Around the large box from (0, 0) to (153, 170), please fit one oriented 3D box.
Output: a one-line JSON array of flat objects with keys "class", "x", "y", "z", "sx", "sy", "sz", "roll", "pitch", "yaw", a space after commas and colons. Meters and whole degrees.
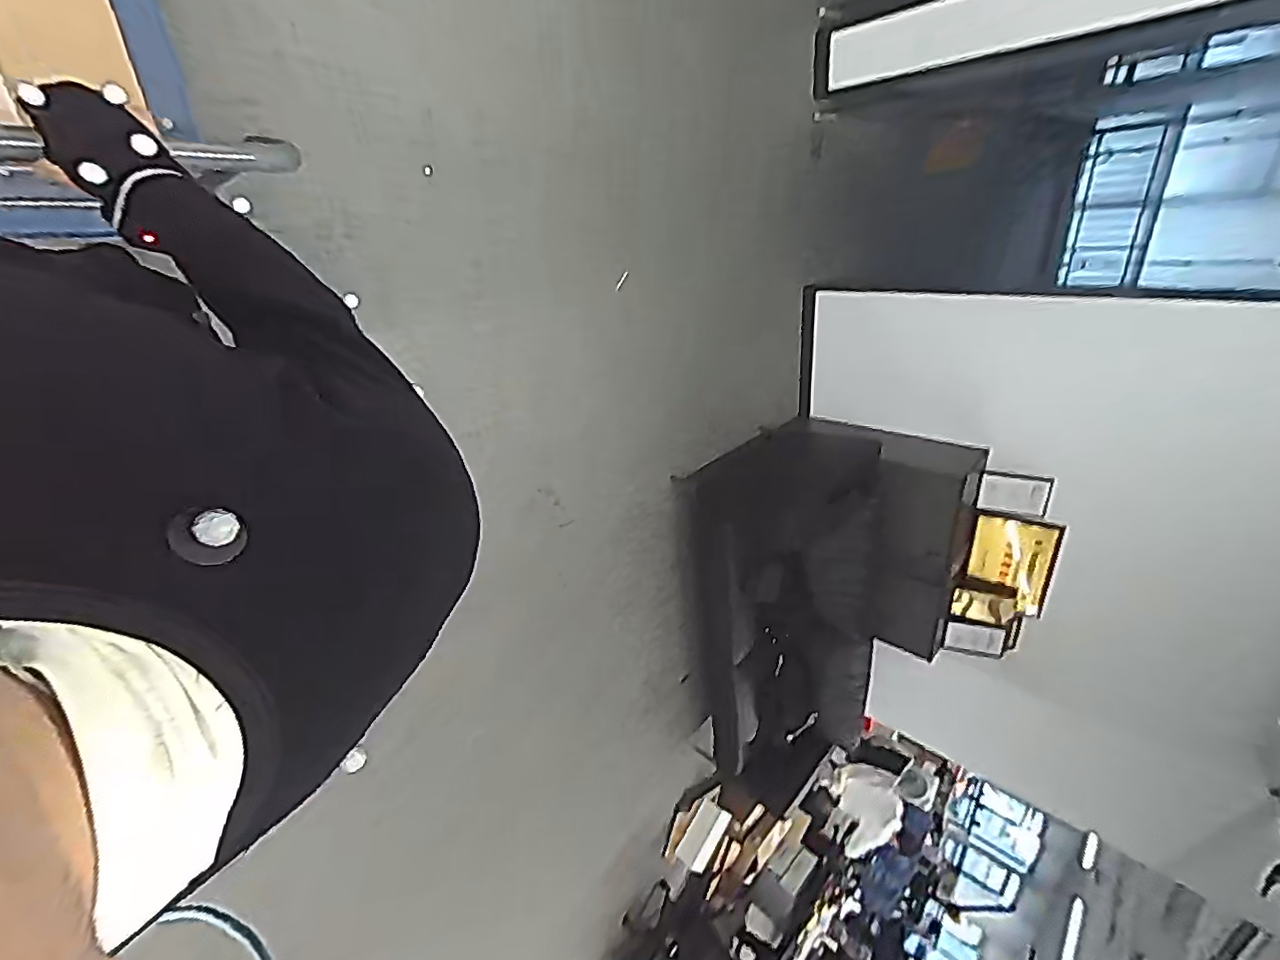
[{"class": "large box", "x": -0.968, "y": -0.676, "z": 0.748, "sx": 0.320, "sy": 0.320, "sz": 0.408, "roll": -26, "pitch": 122, "yaw": -40}]
